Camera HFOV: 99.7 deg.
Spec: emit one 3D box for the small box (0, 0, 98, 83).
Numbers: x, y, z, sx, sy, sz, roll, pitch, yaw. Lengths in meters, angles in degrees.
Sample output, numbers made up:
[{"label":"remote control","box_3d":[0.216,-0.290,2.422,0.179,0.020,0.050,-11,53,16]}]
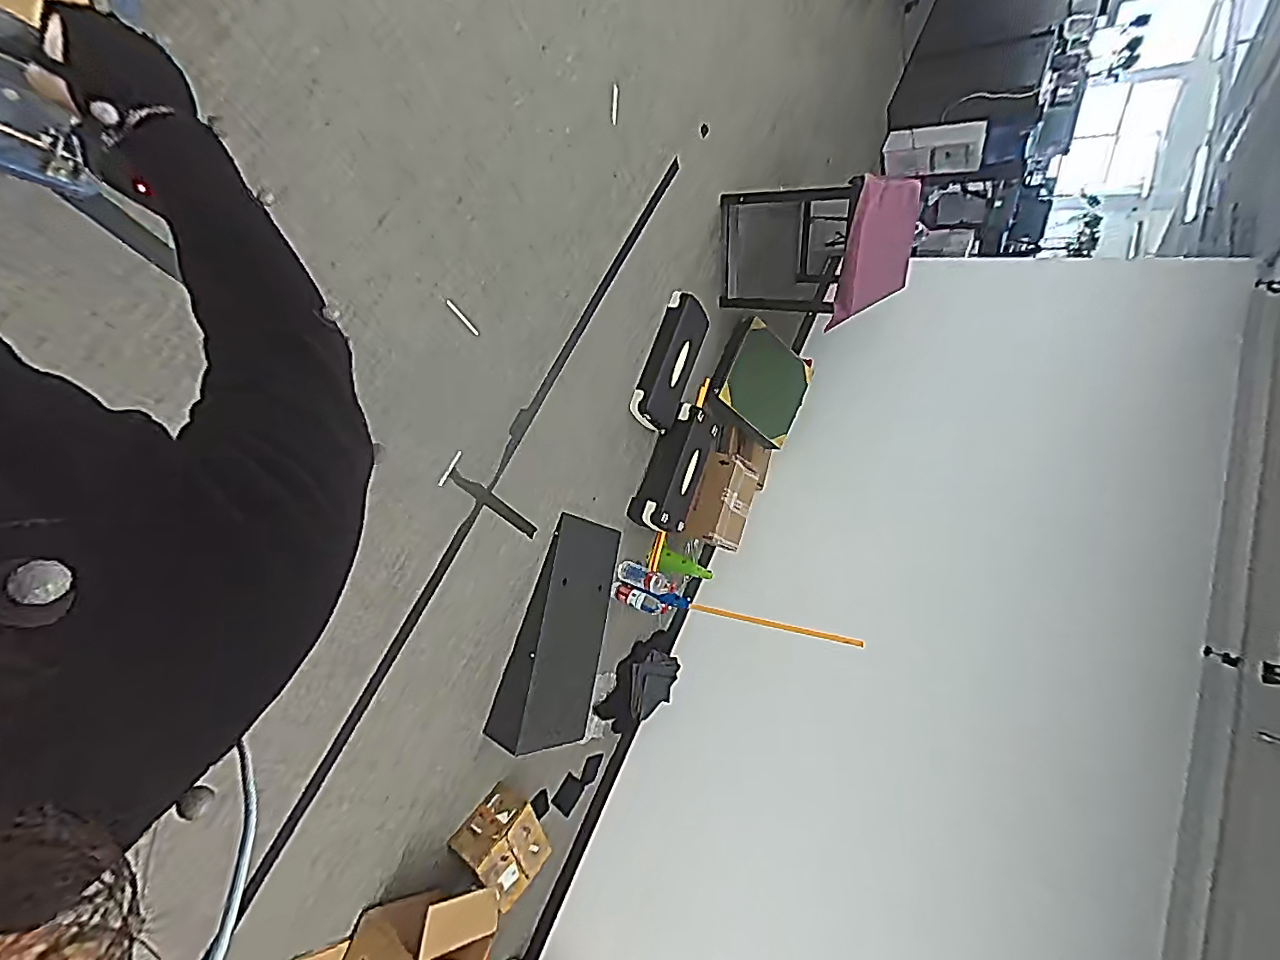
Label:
[{"label":"small box","box_3d":[-0.868,-0.684,0.730,0.168,0.176,0.179,10,94,-58]}]
